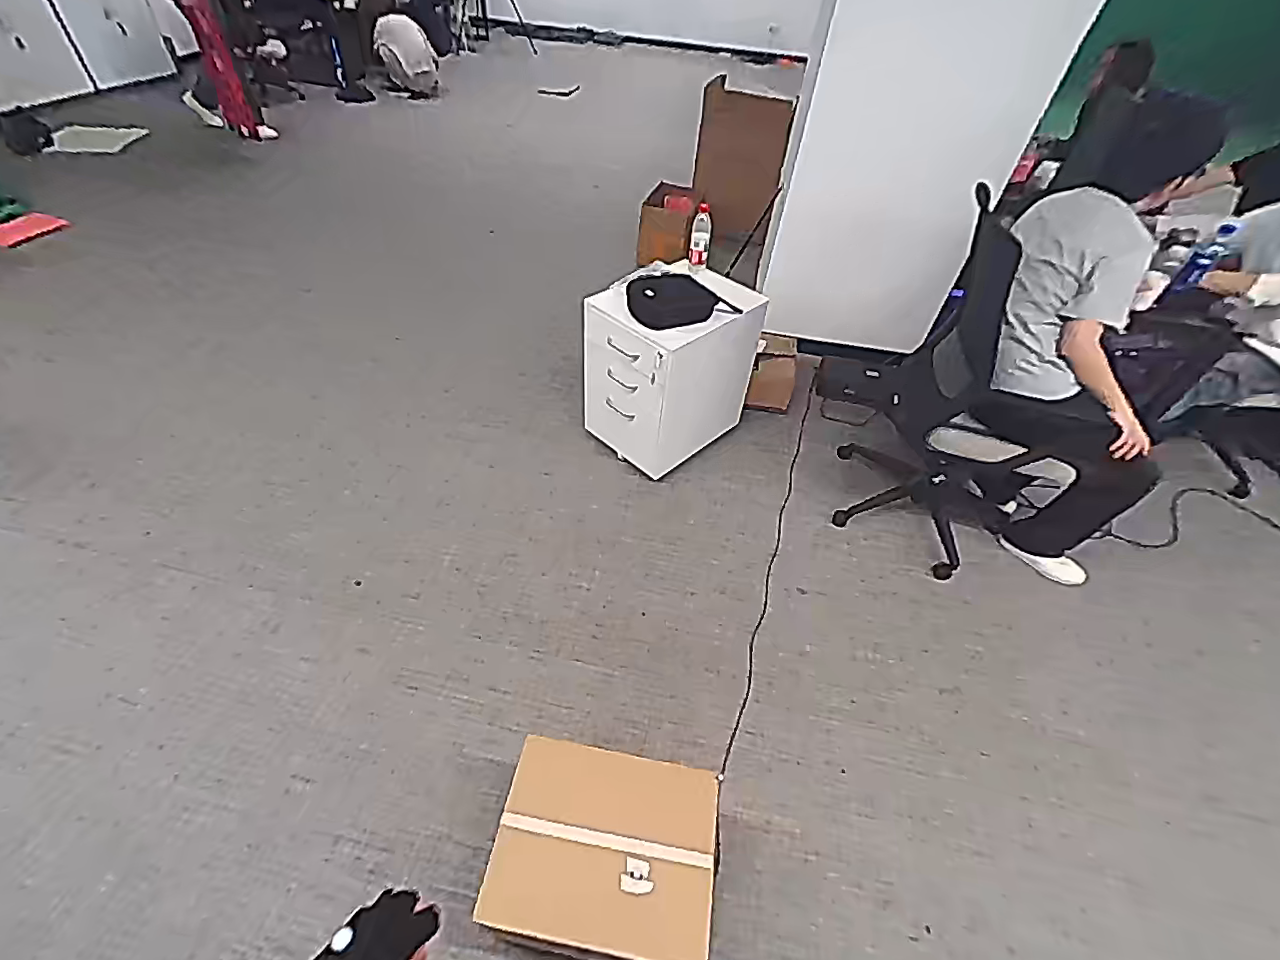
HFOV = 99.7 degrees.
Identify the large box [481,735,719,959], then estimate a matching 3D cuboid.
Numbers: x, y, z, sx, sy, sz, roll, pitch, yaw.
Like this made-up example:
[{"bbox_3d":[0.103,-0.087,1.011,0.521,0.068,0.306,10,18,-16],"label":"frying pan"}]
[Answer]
[{"bbox_3d":[-0.070,0.775,1.122,0.408,0.320,0.320,11,47,4],"label":"large box"}]
